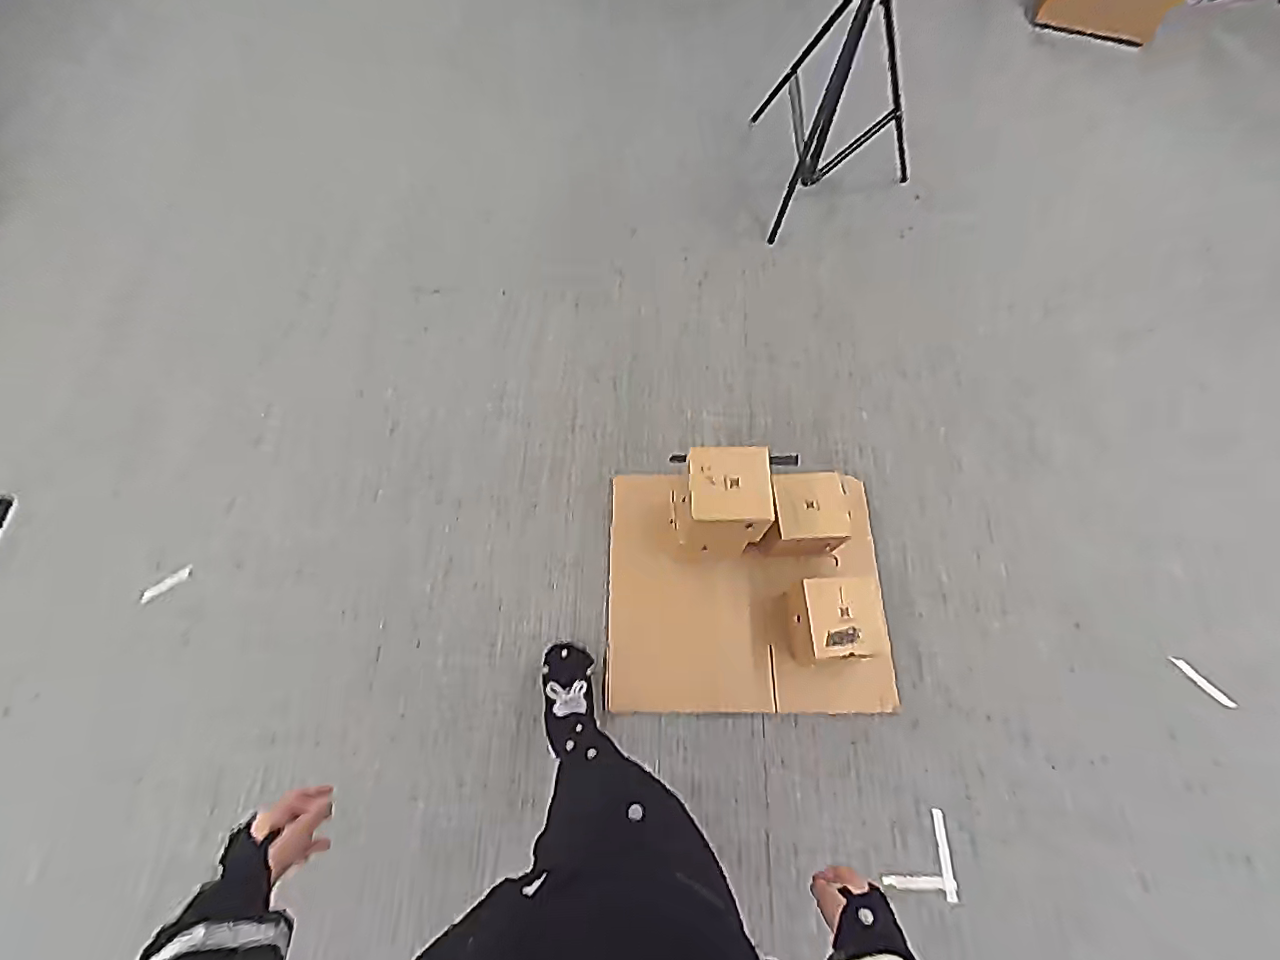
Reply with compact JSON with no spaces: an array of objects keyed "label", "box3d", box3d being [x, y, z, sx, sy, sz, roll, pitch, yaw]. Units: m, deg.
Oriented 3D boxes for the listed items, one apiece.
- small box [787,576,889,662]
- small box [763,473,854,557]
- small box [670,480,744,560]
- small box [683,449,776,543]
[{"label":"small box","box3d":[0.456,0.332,1.272,0.168,0.176,0.179,-3,68,-1]},{"label":"small box","box3d":[0.413,0.093,1.371,0.179,0.176,0.168,-4,67,-1]},{"label":"small box","box3d":[0.169,0.101,1.363,0.179,0.176,0.168,-4,69,-1]},{"label":"small box","box3d":[0.192,0.040,1.210,0.179,0.176,0.168,0,67,0]}]
